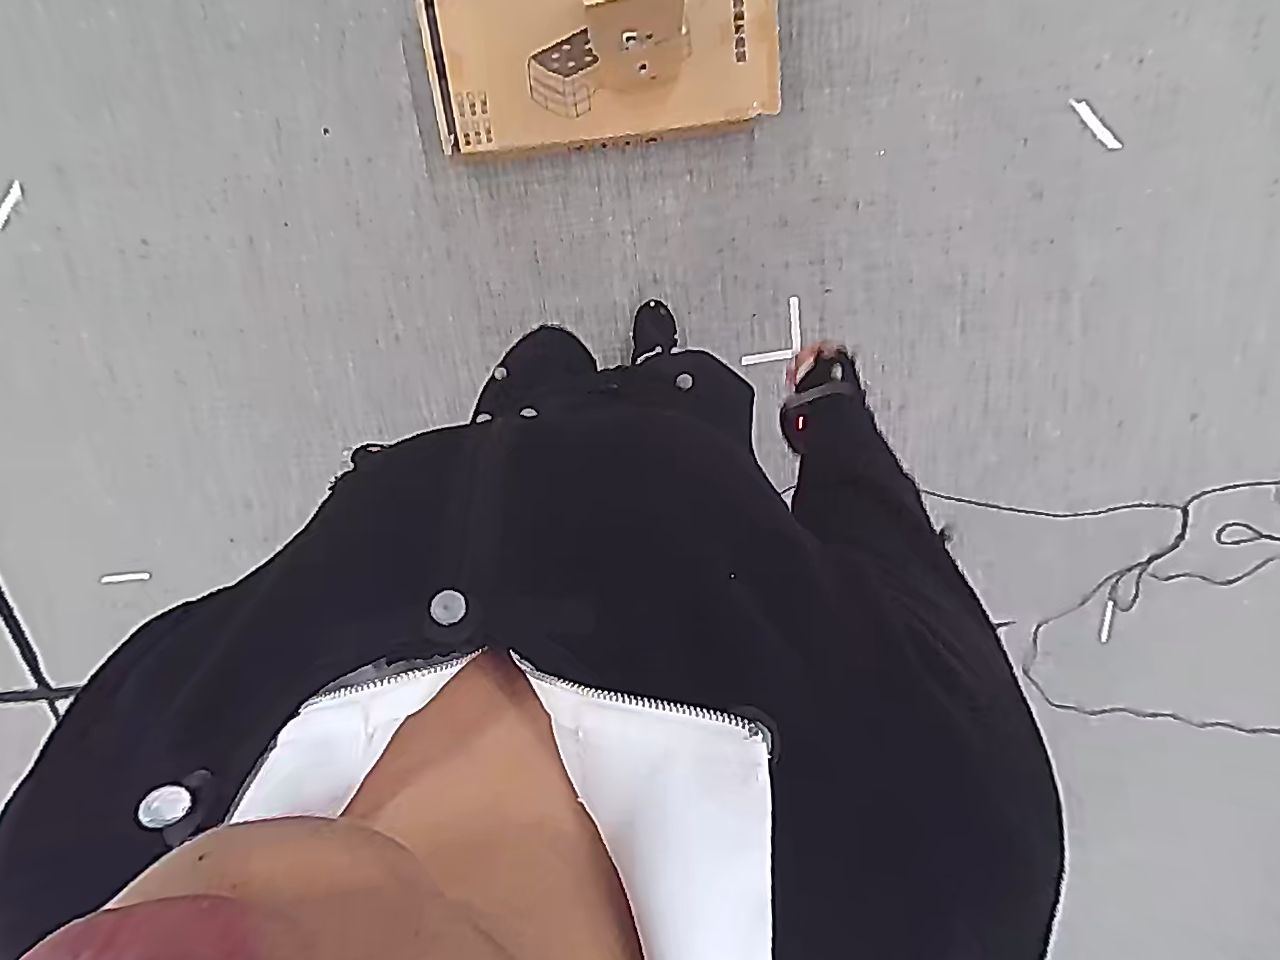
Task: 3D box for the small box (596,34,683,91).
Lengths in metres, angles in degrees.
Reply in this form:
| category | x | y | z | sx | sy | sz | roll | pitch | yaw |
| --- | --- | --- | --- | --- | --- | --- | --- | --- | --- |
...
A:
| category | x | y | z | sx | sy | sz | roll | pitch | yaw |
| --- | --- | --- | --- | --- | --- | --- | --- | --- | --- |
| small box | -0.008 | -0.887 | 1.048 | 0.168 | 0.176 | 0.179 | -8 | 107 | 3 |

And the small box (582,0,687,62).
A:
| category | x | y | z | sx | sy | sz | roll | pitch | yaw |
| --- | --- | --- | --- | --- | --- | --- | --- | --- | --- |
| small box | -0.020 | -0.841 | 0.891 | 0.168 | 0.176 | 0.179 | -10 | 106 | 5 |
